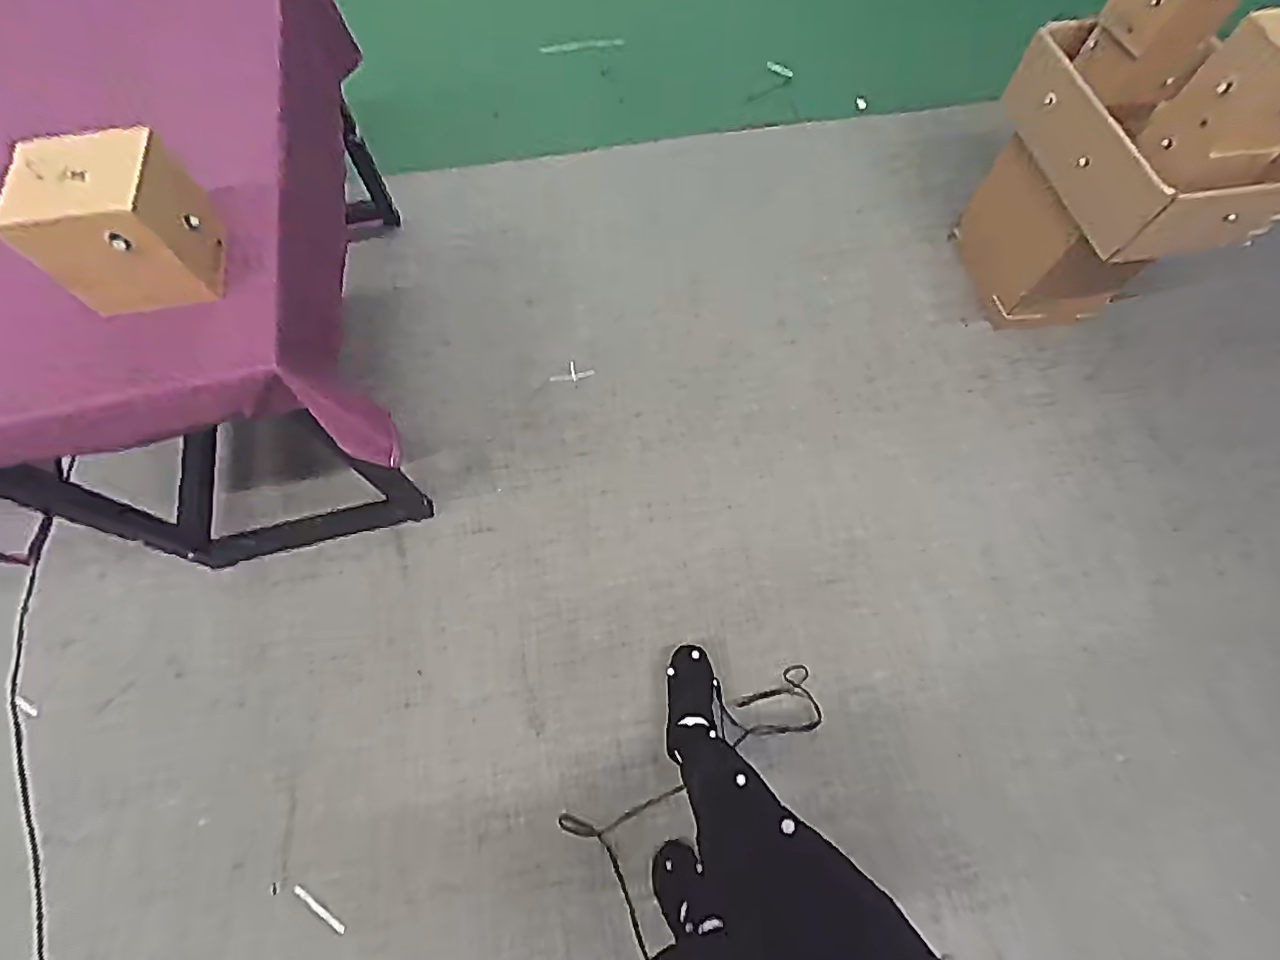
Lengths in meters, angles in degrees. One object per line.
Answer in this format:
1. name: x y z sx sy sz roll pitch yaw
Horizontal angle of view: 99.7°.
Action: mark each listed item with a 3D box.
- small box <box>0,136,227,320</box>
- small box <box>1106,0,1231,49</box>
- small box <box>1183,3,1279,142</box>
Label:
1. small box: -0.754 -0.361 0.794 0.179 0.176 0.168 -11 67 -4
2. small box: 1.193 -1.096 1.196 0.179 0.176 0.168 -13 68 -6
3. small box: 1.247 -0.801 1.069 0.179 0.176 0.168 -7 68 -2
